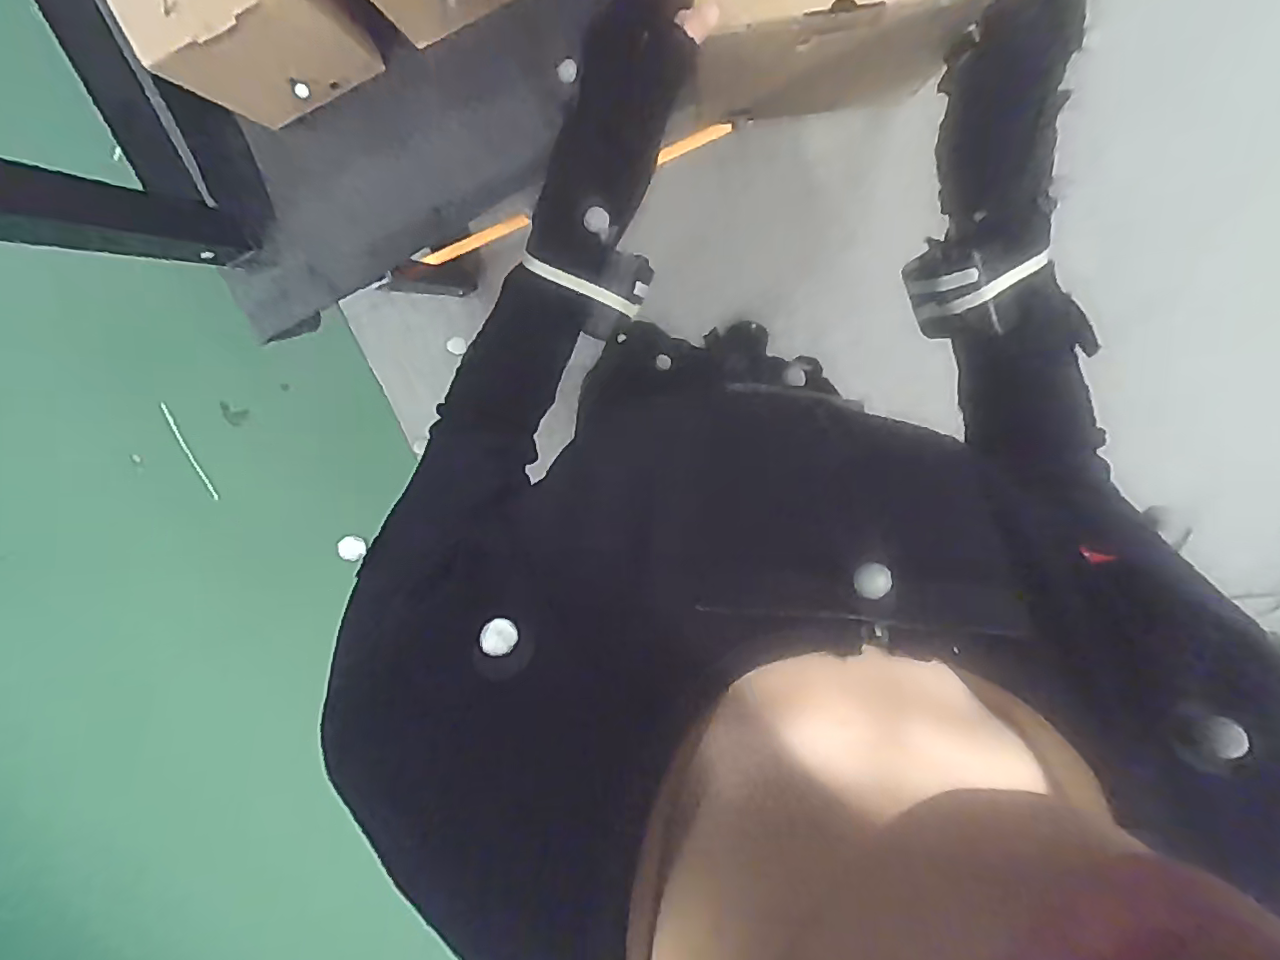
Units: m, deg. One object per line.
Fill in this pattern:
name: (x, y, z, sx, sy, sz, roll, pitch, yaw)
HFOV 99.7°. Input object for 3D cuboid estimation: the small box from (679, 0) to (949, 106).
small box: (0.110, -0.369, 0.348, 0.168, 0.176, 0.179, -2, 106, 8)
